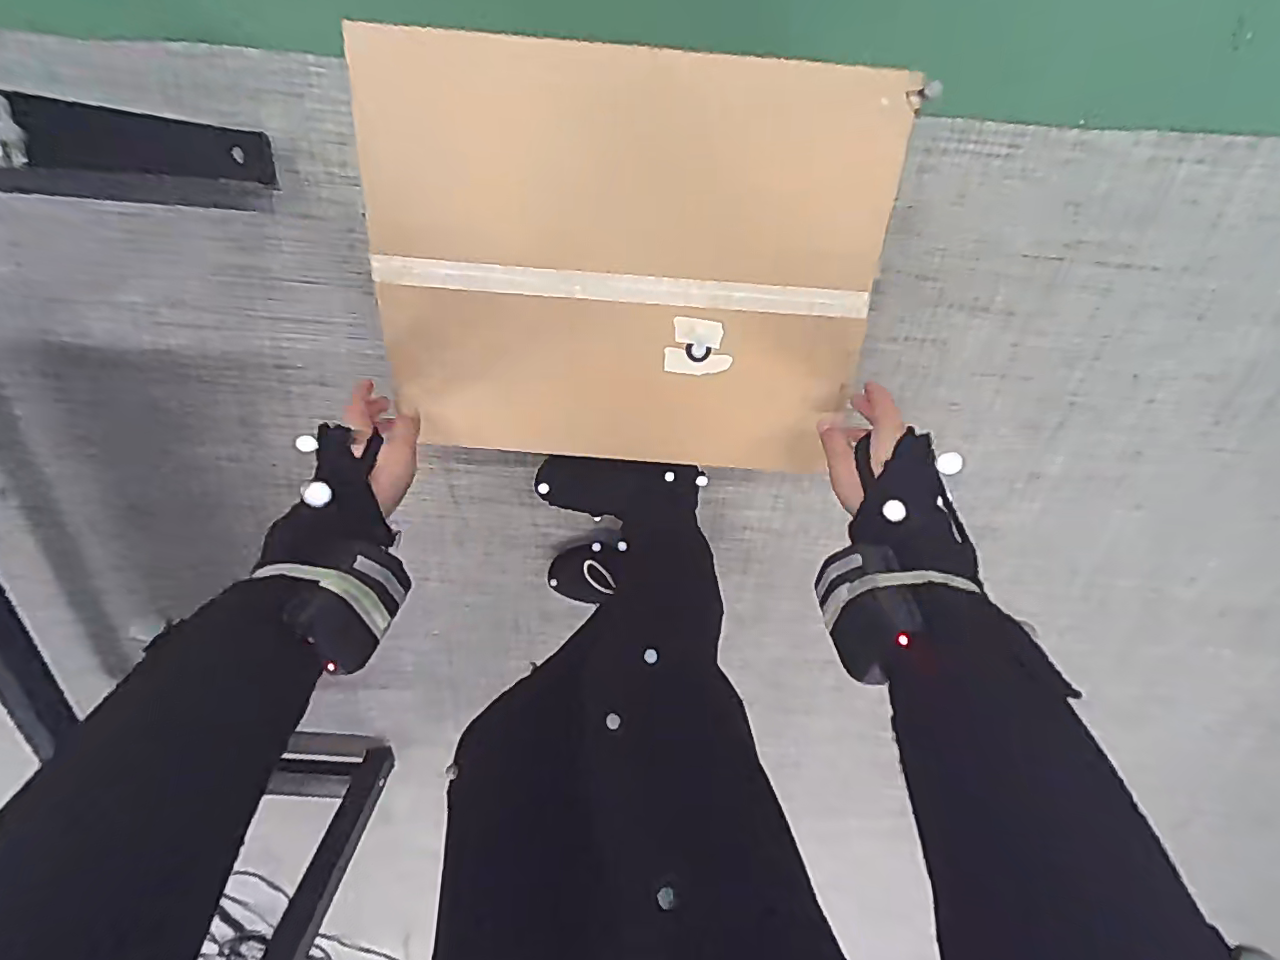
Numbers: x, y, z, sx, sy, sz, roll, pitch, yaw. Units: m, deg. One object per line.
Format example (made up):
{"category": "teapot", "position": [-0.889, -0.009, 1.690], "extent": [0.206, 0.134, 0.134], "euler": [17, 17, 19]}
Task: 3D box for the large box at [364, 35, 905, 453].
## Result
{"category": "large box", "position": [-0.011, -0.234, 0.589], "extent": [0.408, 0.320, 0.320], "euler": [3, 116, -1]}
